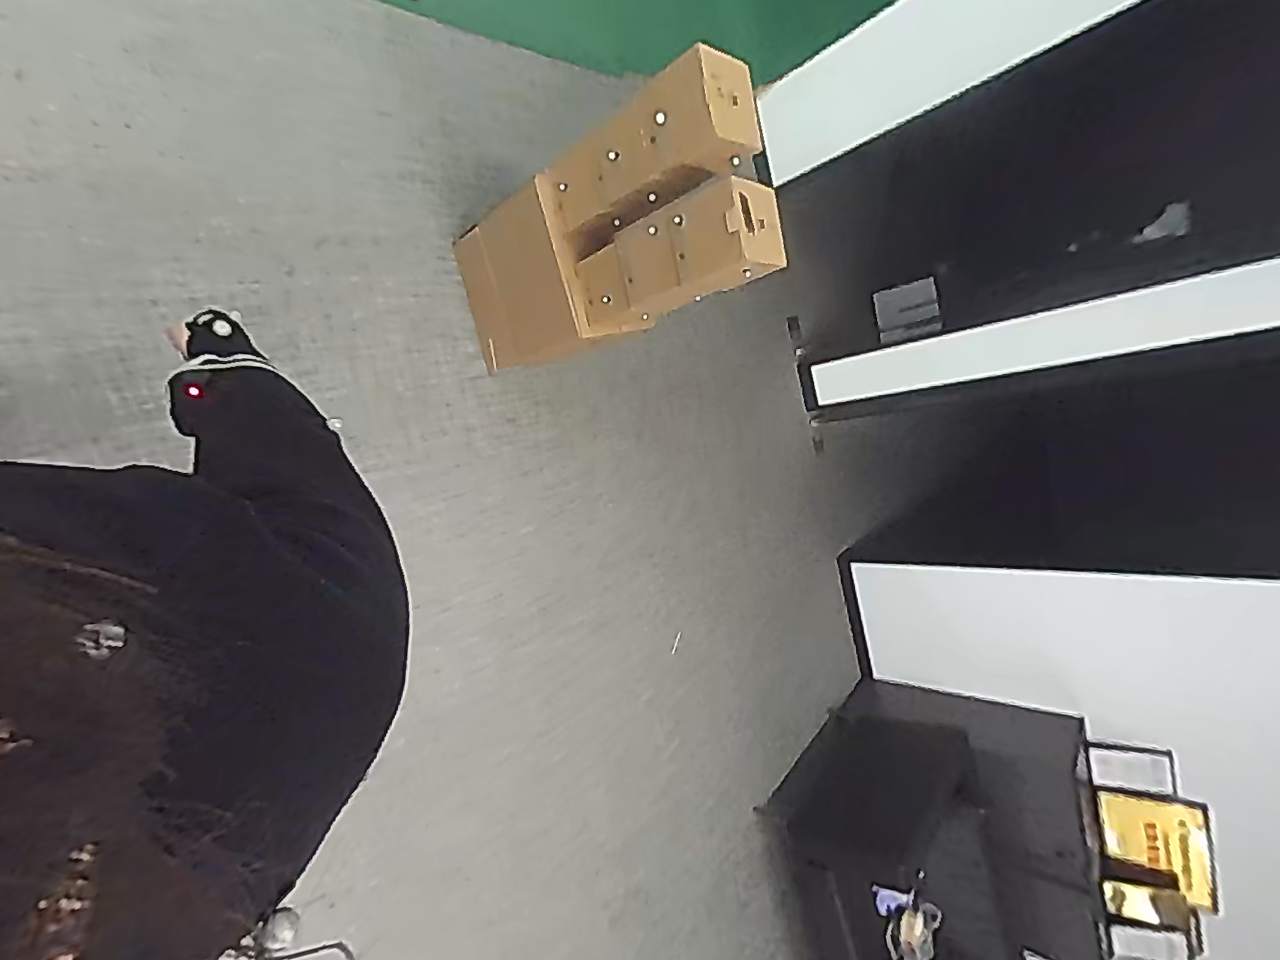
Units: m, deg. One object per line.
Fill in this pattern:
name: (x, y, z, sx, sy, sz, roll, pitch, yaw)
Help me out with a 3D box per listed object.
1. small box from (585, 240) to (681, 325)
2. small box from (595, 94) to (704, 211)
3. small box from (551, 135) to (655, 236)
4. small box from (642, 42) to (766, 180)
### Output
small box: (-0.025, -0.506, 1.404, 0.179, 0.176, 0.168, -19, 100, -44)
small box: (0.016, -0.735, 1.236, 0.179, 0.176, 0.168, -21, 102, -42)
small box: (-0.094, -0.728, 1.358, 0.179, 0.176, 0.168, -23, 104, -42)
small box: (0.132, -0.746, 1.118, 0.179, 0.176, 0.168, -21, 102, -42)
